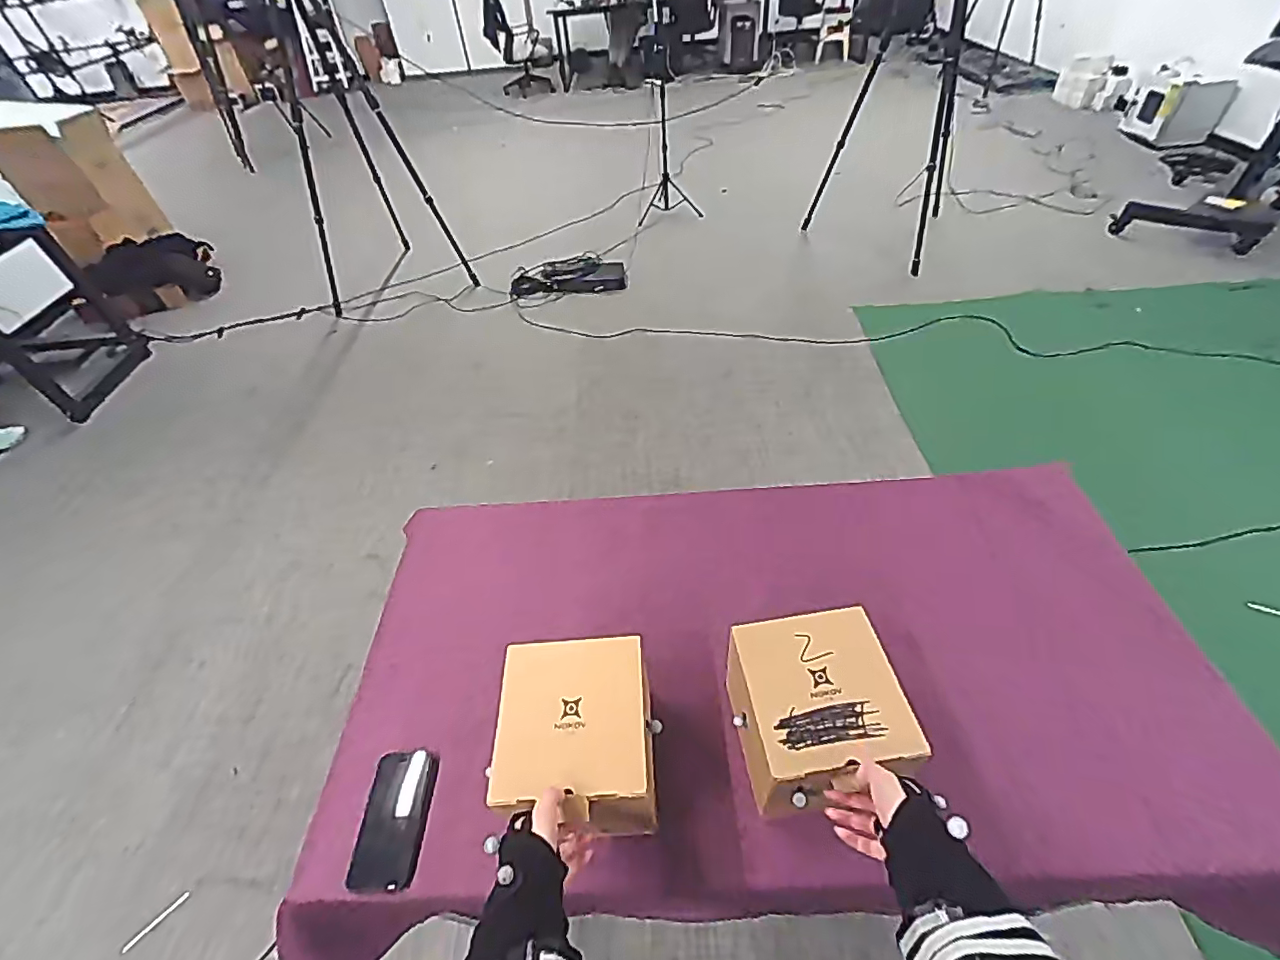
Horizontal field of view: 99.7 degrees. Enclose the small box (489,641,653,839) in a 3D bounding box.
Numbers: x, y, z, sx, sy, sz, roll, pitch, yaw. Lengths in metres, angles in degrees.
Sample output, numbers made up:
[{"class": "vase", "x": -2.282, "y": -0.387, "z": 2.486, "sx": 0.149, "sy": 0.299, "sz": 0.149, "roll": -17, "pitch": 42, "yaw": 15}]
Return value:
[{"class": "small box", "x": -0.072, "y": 0.321, "z": 0.666, "sx": 0.168, "sy": 0.176, "sz": 0.179, "roll": -5, "pitch": 47, "yaw": 1}]
